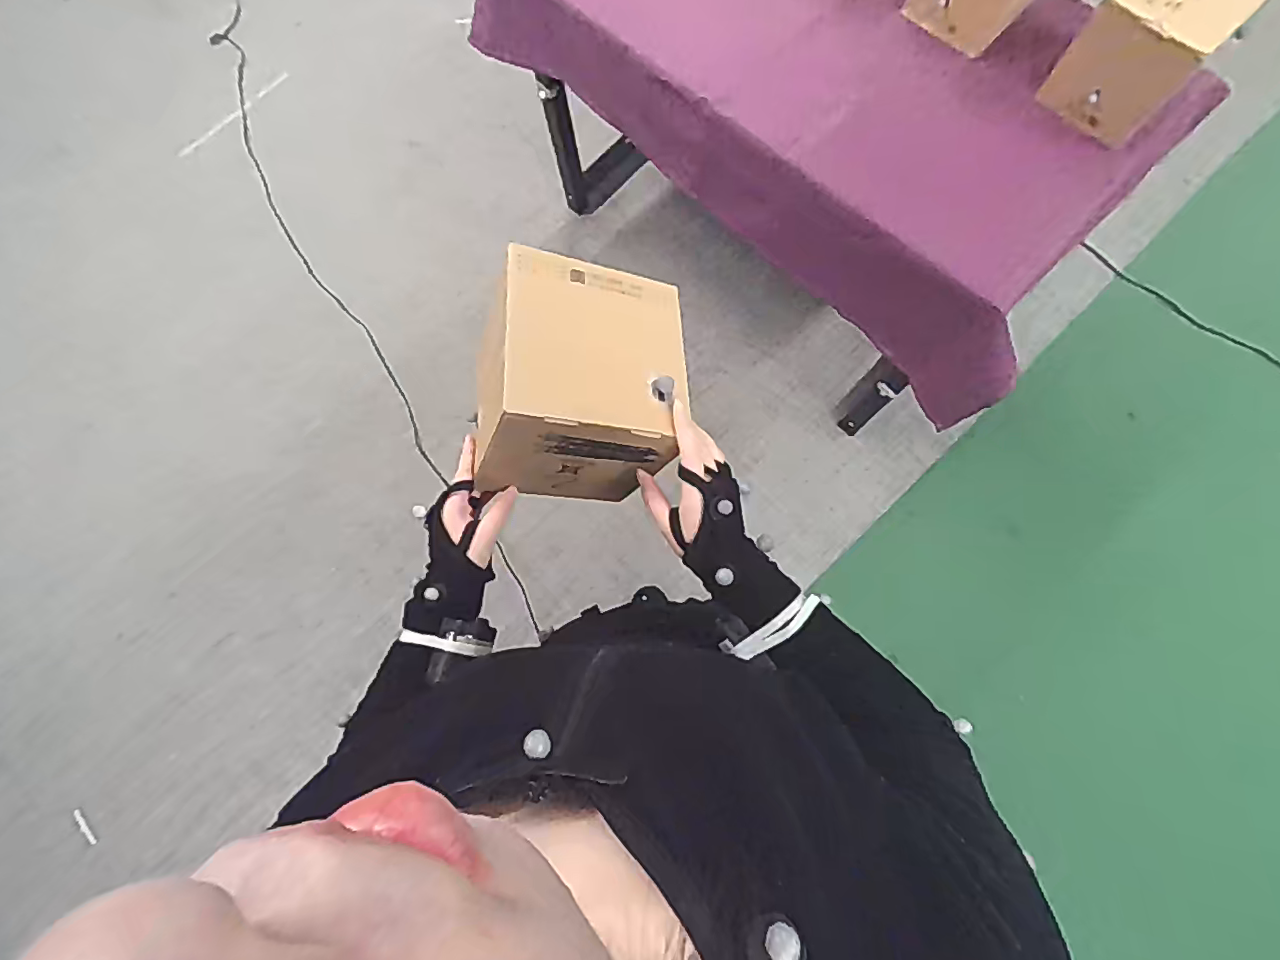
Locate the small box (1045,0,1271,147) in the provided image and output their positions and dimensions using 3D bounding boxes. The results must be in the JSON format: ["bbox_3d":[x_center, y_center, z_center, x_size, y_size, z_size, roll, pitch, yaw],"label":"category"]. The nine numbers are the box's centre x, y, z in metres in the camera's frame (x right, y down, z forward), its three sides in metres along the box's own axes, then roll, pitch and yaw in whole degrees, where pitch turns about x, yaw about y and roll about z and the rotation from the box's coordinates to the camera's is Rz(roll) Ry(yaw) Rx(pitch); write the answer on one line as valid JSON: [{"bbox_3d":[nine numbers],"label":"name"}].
[{"bbox_3d":[0.794,-0.679,0.843,0.179,0.176,0.168,-44,78,-3],"label":"small box"}]

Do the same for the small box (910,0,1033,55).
[{"bbox_3d":[0.595,-0.879,0.904,0.168,0.176,0.179,43,84,11],"label":"small box"}]
